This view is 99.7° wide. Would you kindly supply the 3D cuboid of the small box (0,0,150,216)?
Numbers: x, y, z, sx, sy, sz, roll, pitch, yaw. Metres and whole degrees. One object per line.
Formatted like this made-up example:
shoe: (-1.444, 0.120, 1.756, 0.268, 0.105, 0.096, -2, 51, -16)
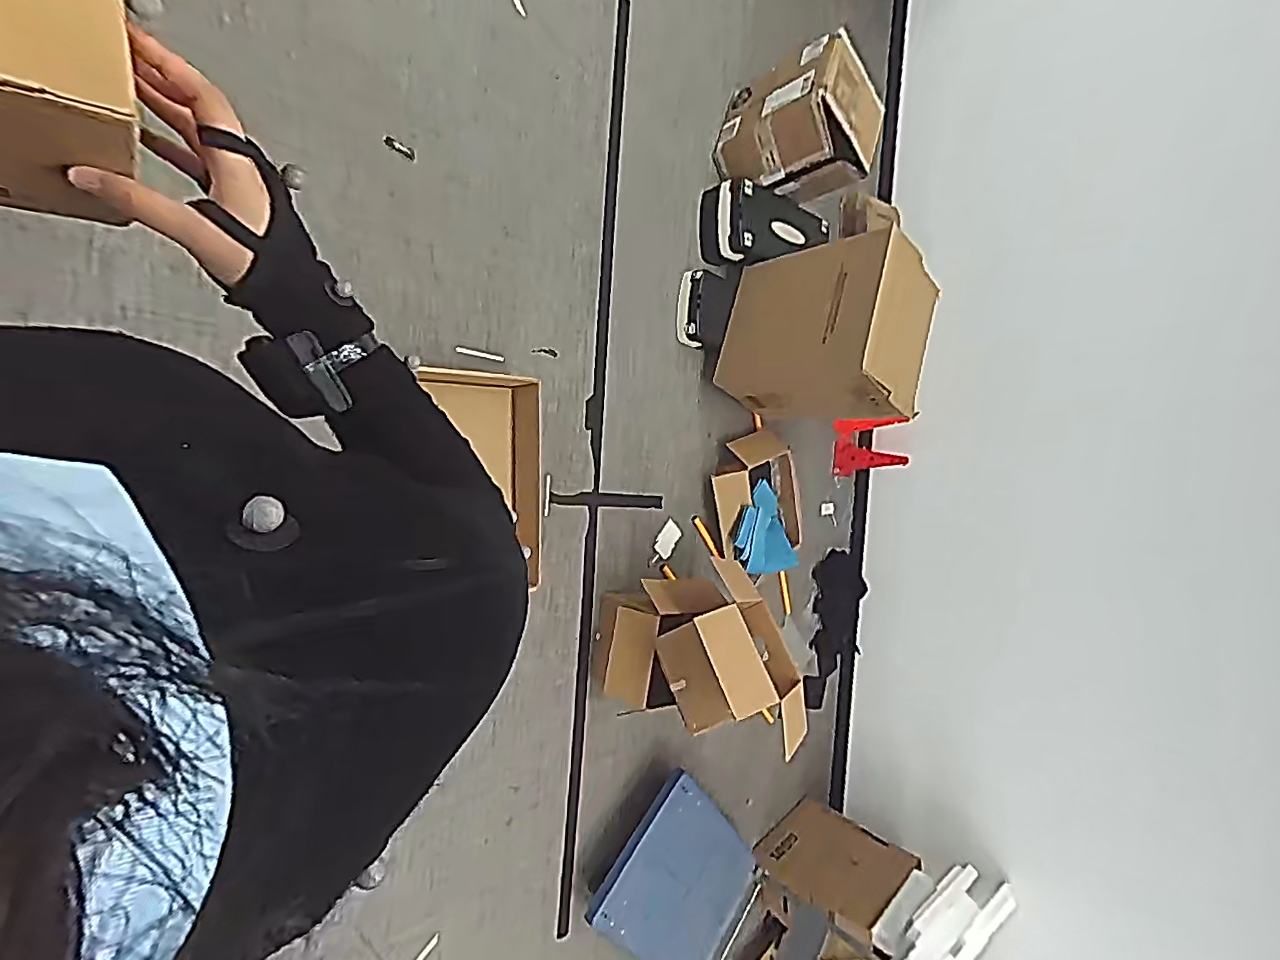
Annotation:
small box: (-0.354, -0.254, 0.253, 0.168, 0.176, 0.179, -8, 98, -44)
